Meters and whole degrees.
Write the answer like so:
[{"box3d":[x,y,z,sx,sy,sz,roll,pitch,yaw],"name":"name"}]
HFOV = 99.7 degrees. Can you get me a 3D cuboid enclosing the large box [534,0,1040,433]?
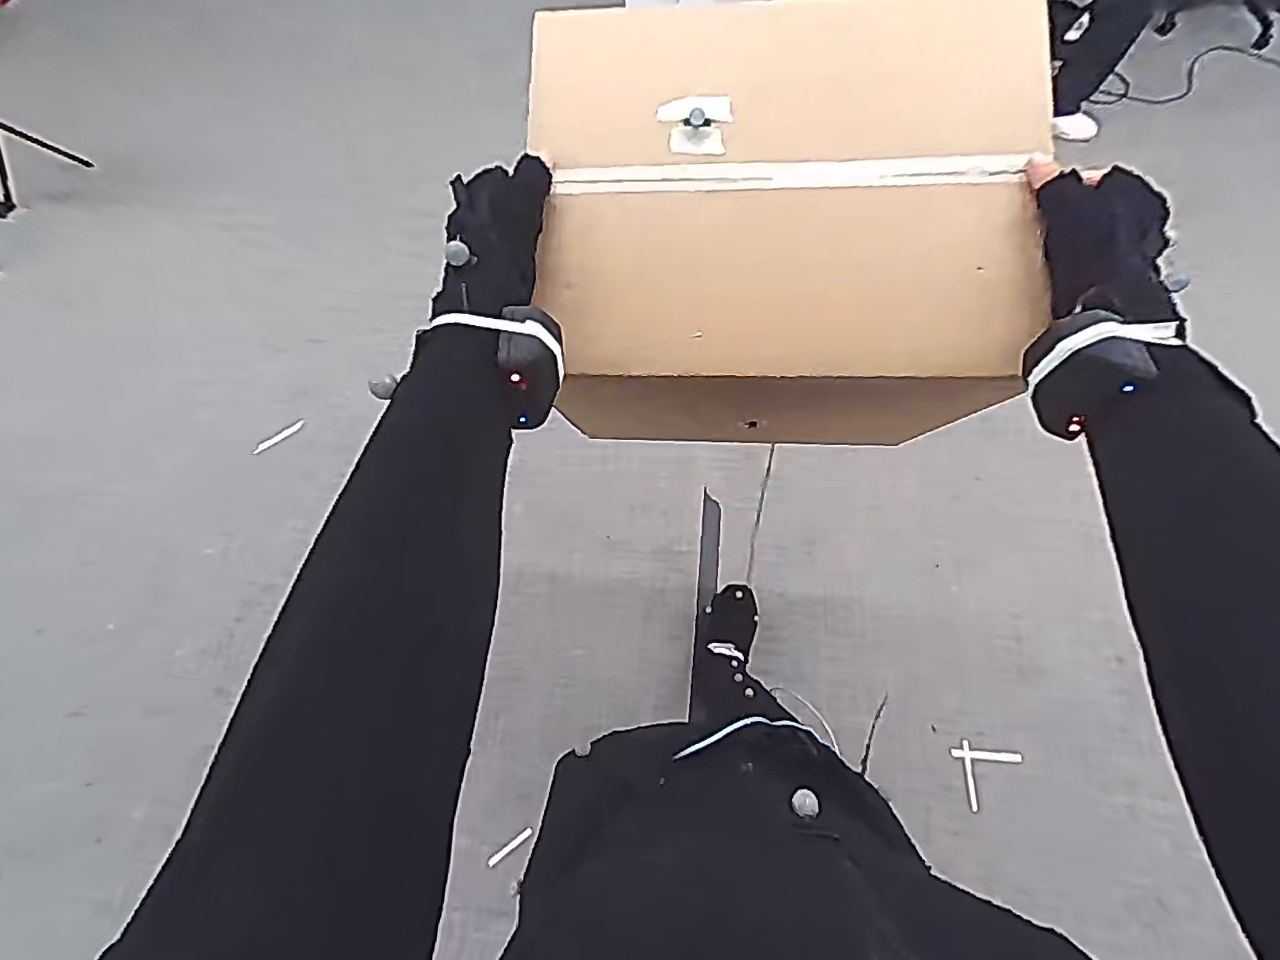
[{"box3d":[0.129,-0.226,0.591,0.408,0.320,0.320,2,84,7],"name":"large box"}]
